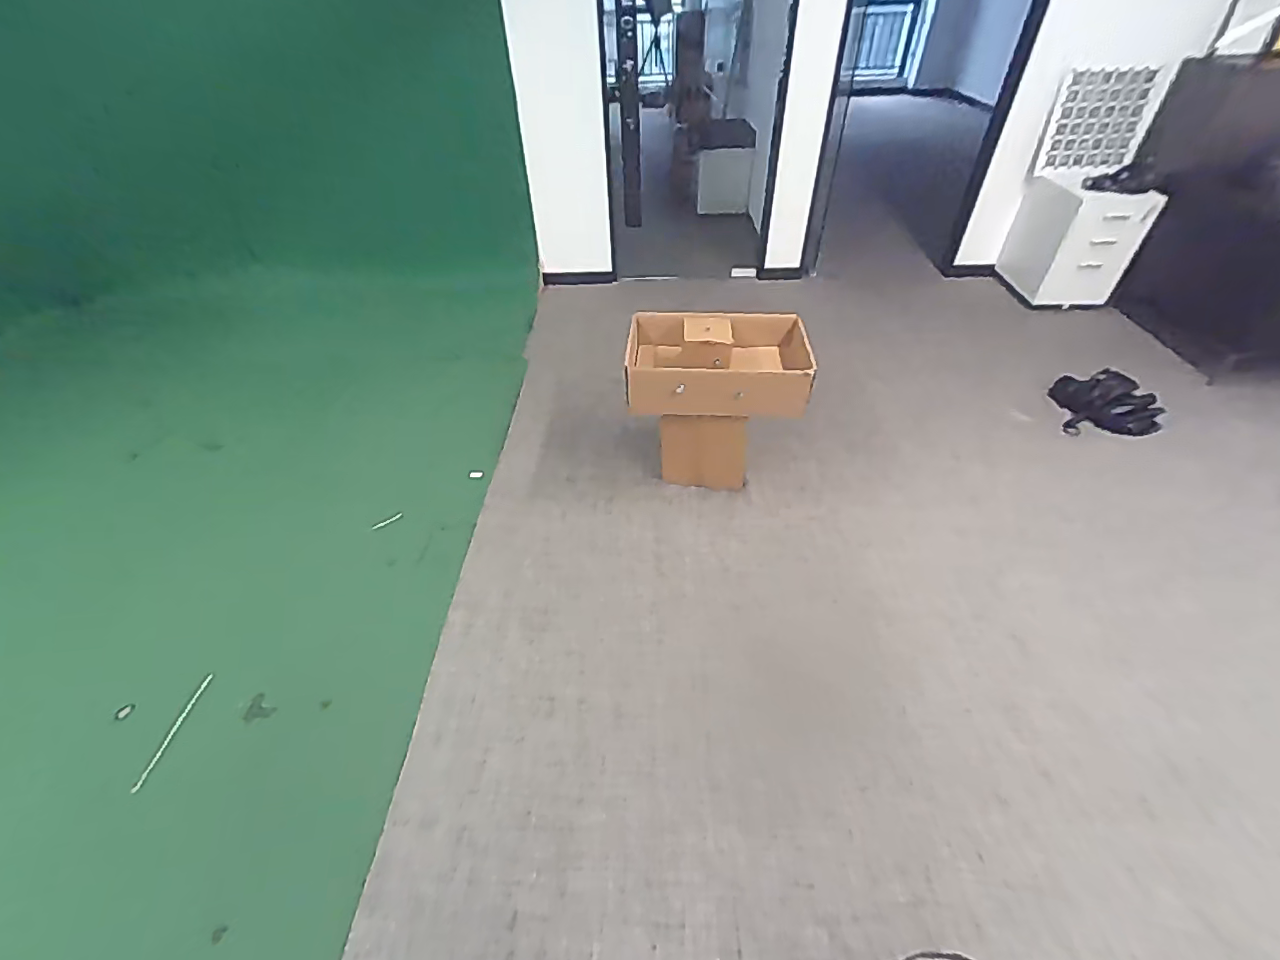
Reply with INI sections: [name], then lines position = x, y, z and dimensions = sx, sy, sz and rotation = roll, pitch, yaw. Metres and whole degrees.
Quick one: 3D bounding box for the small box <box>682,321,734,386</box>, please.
[small box]
position = 0.239, -0.449, 1.923
dimensions = 0.168, 0.176, 0.179
rotation = 3, 41, 2
